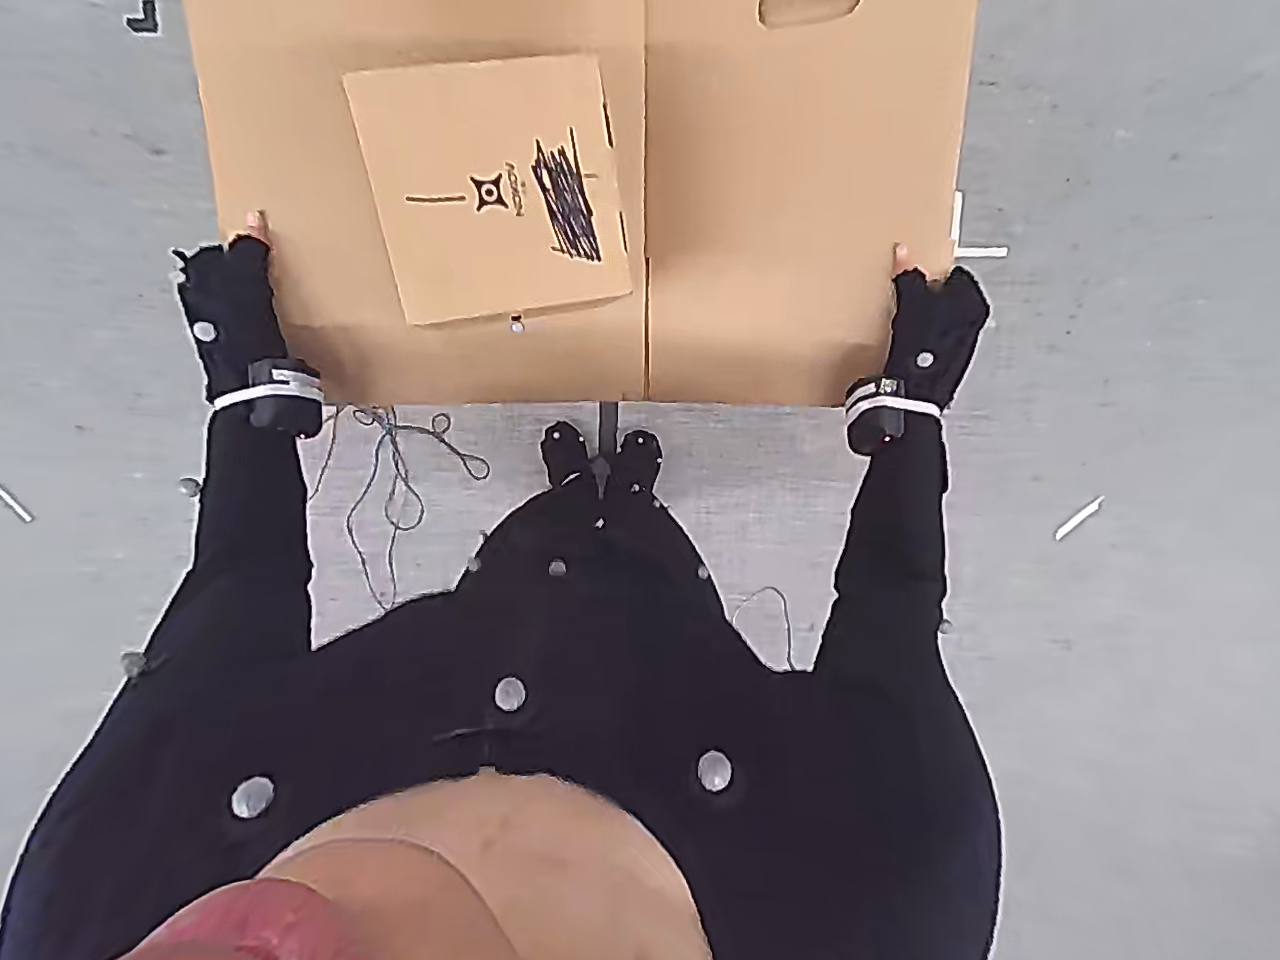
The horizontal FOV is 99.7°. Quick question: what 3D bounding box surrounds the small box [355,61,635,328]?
[{"bbox_3d":[-0.115,-0.229,0.473,0.179,0.176,0.168,-11,106,-9],"label":"small box"}]
